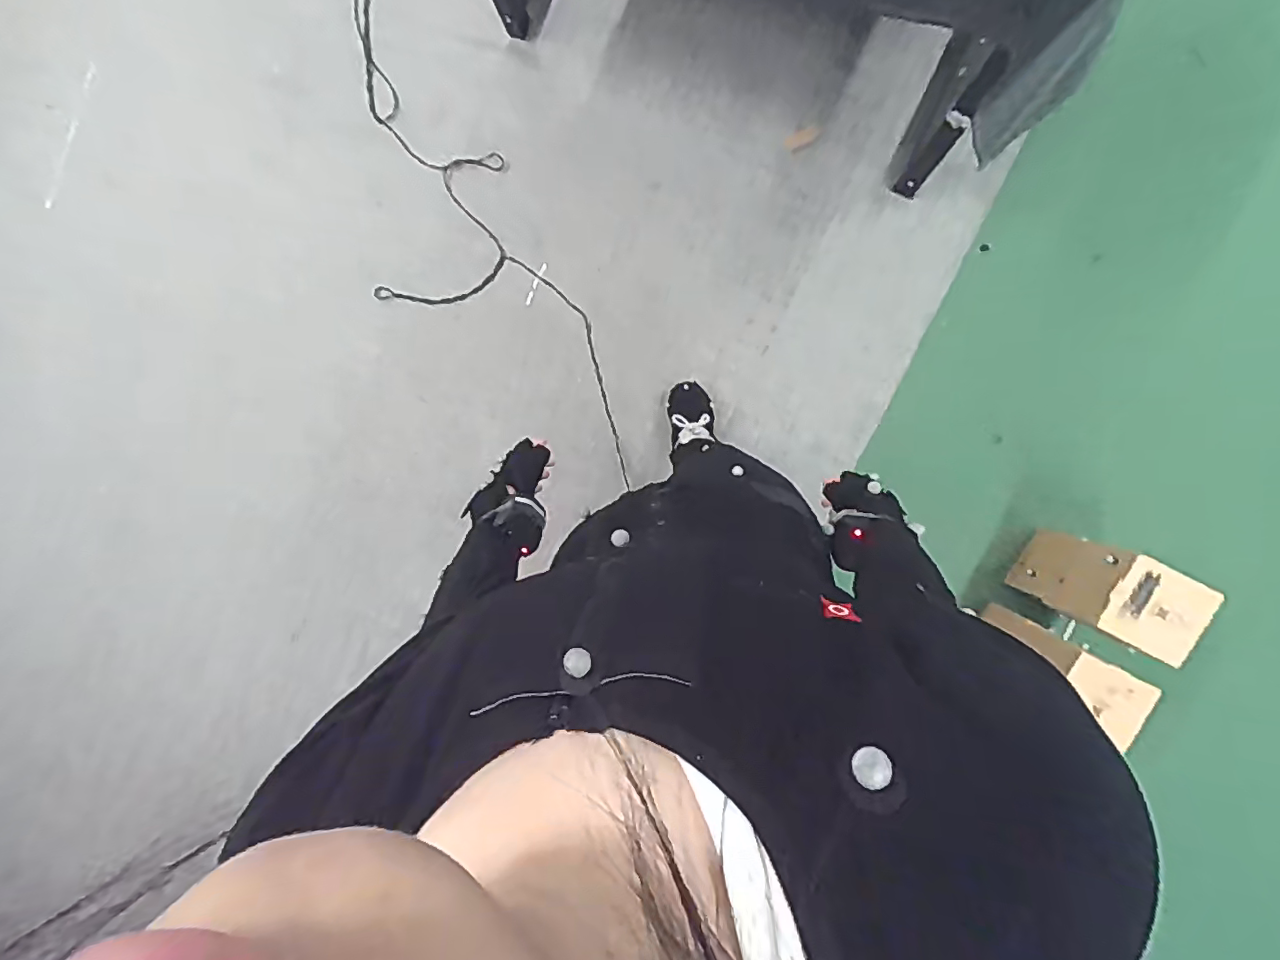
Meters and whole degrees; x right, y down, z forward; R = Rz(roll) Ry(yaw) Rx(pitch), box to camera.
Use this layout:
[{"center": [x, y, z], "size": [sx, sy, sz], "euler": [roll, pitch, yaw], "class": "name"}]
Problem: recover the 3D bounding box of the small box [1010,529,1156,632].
[{"center": [1.039, 0.229, 1.289], "size": [0.179, 0.176, 0.168], "euler": [30, 96, 5], "class": "small box"}]
